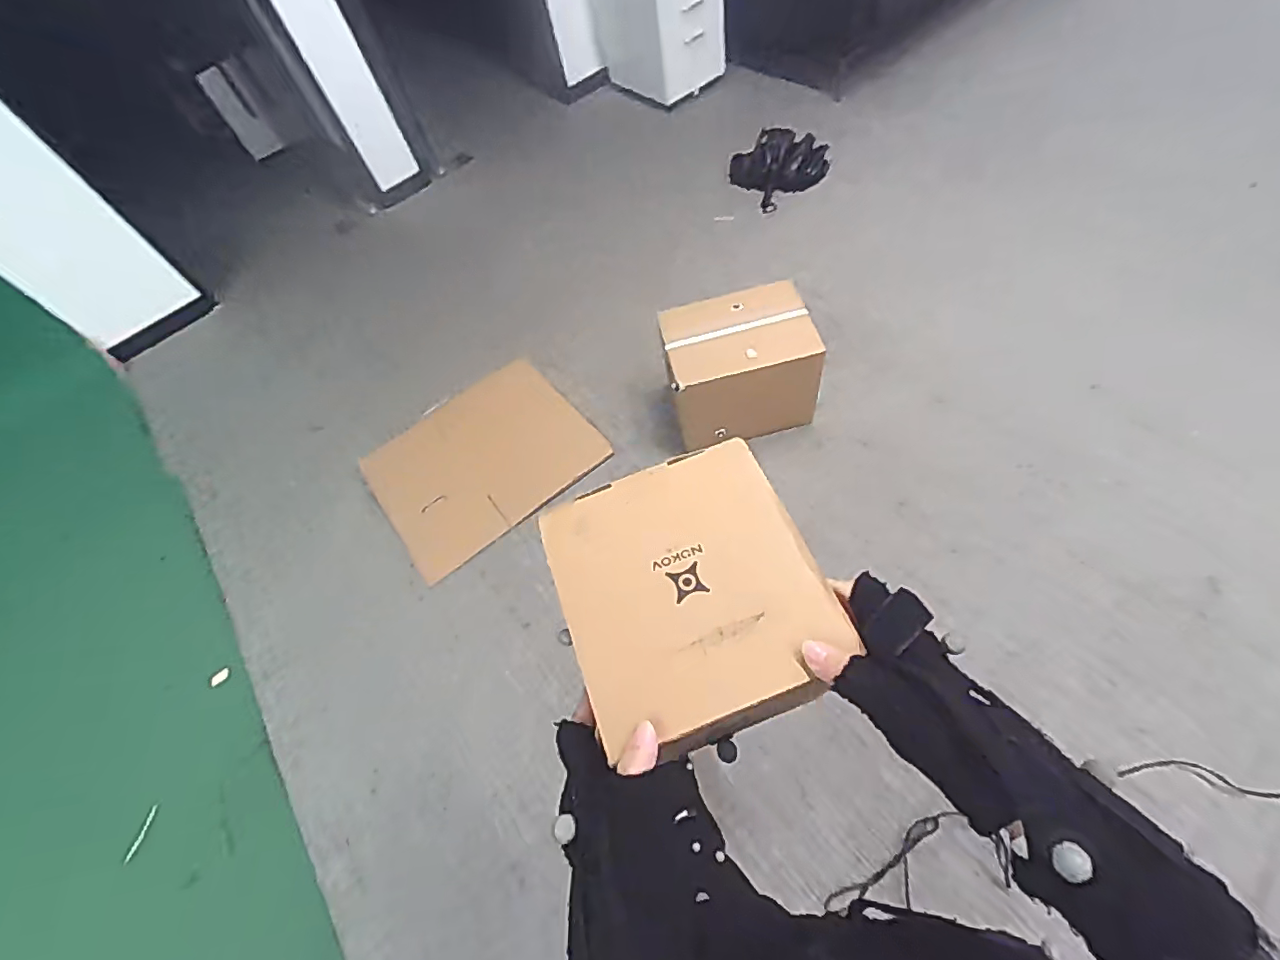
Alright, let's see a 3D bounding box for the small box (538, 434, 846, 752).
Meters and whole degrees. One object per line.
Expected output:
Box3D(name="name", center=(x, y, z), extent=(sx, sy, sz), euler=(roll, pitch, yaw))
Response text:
Box3D(name="small box", center=(0.034, 0.099, 0.439), extent=(0.168, 0.176, 0.179), euler=(-21, 59, -4))
